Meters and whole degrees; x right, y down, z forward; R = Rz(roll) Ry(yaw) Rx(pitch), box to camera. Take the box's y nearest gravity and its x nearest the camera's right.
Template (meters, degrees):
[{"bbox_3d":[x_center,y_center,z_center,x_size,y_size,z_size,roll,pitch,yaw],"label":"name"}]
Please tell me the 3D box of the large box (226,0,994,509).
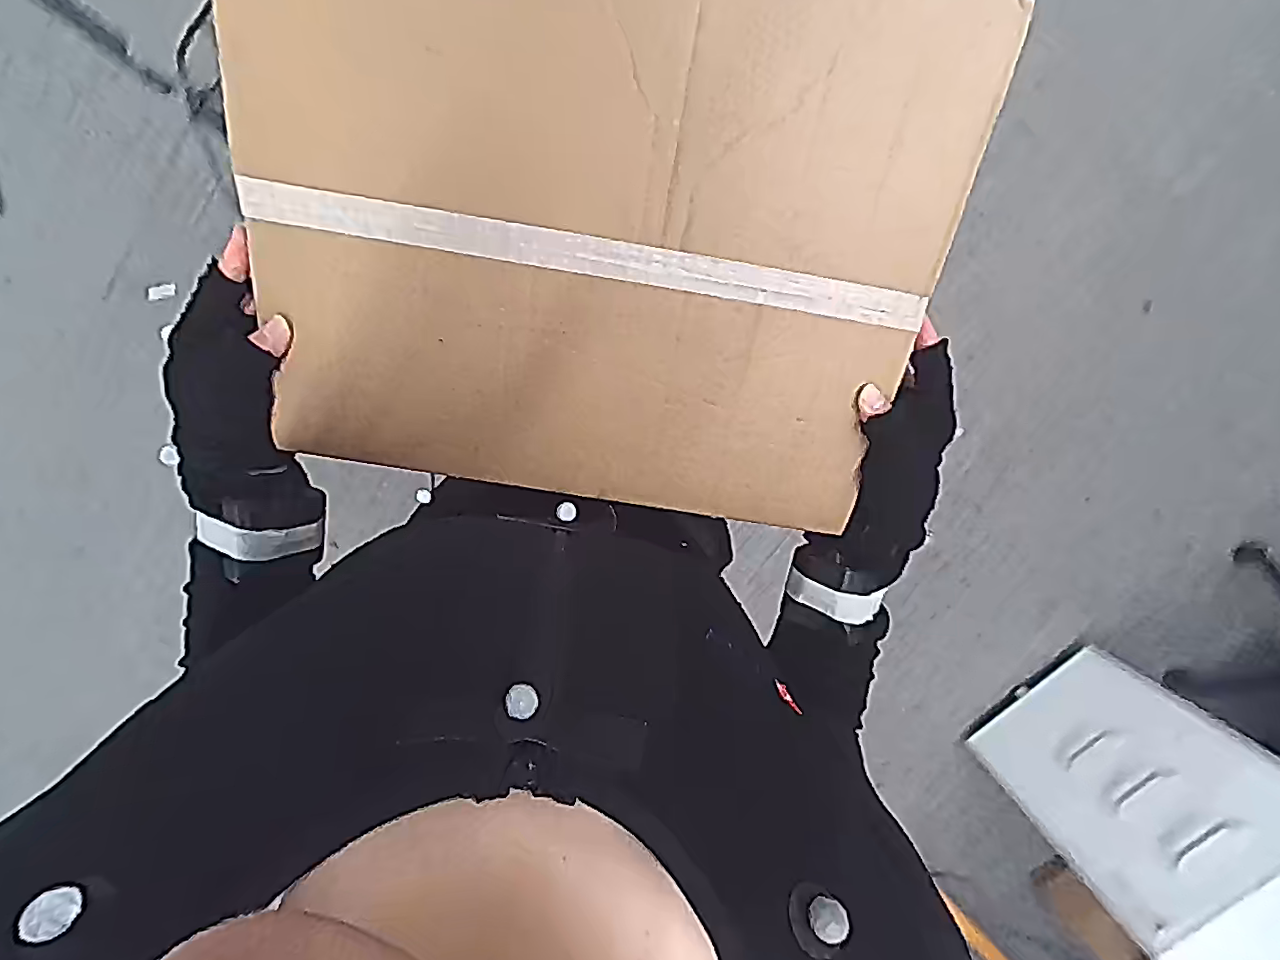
[{"bbox_3d":[-0.032,-0.199,0.465,0.408,0.320,0.320,7,115,-3],"label":"large box"}]
